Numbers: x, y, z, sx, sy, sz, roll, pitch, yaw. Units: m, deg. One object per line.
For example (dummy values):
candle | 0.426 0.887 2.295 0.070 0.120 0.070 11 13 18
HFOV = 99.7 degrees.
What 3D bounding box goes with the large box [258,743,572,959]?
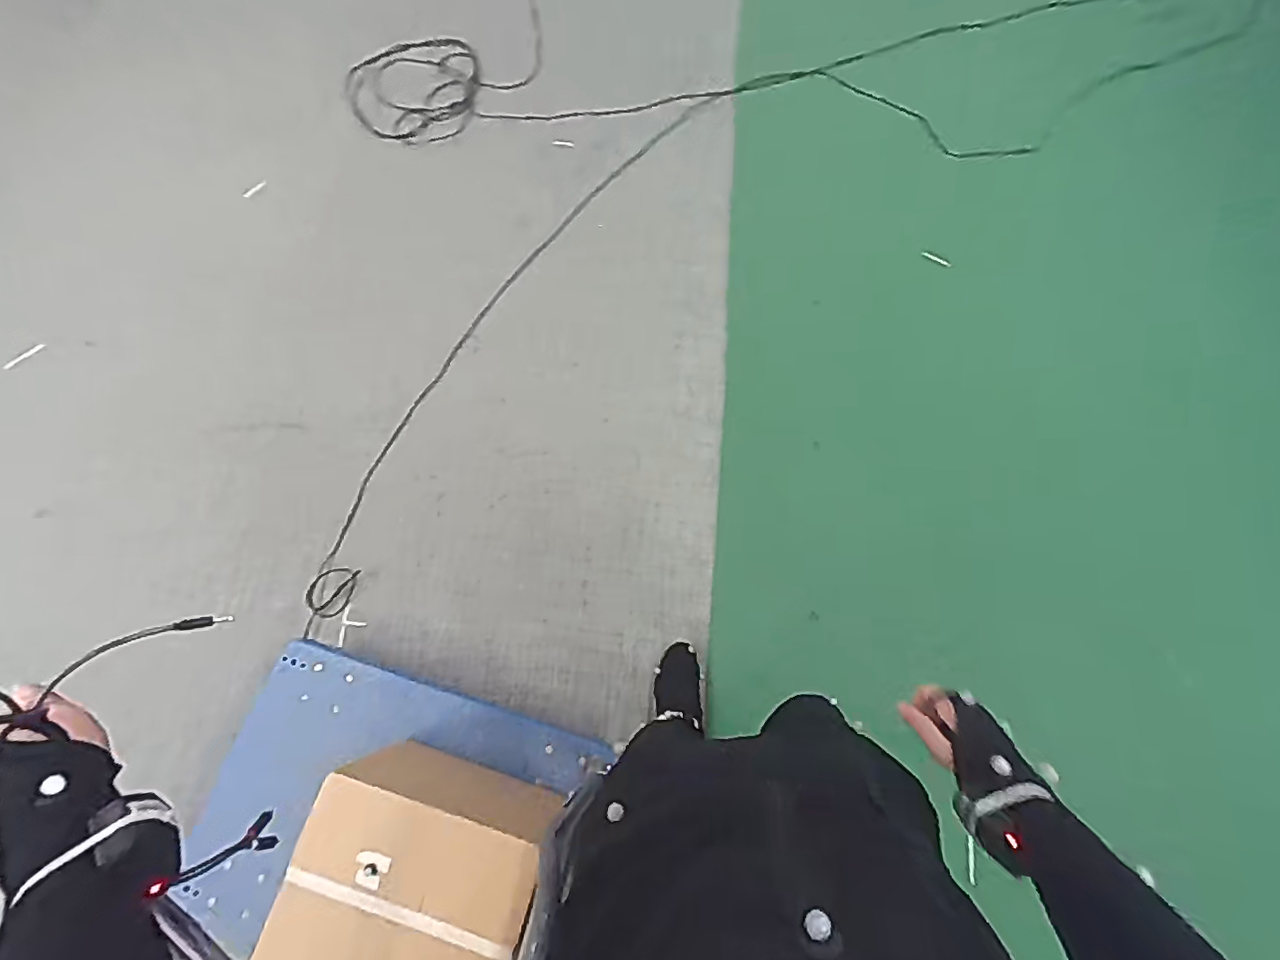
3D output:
large box | -0.379 0.740 1.020 0.408 0.320 0.320 16 74 7
